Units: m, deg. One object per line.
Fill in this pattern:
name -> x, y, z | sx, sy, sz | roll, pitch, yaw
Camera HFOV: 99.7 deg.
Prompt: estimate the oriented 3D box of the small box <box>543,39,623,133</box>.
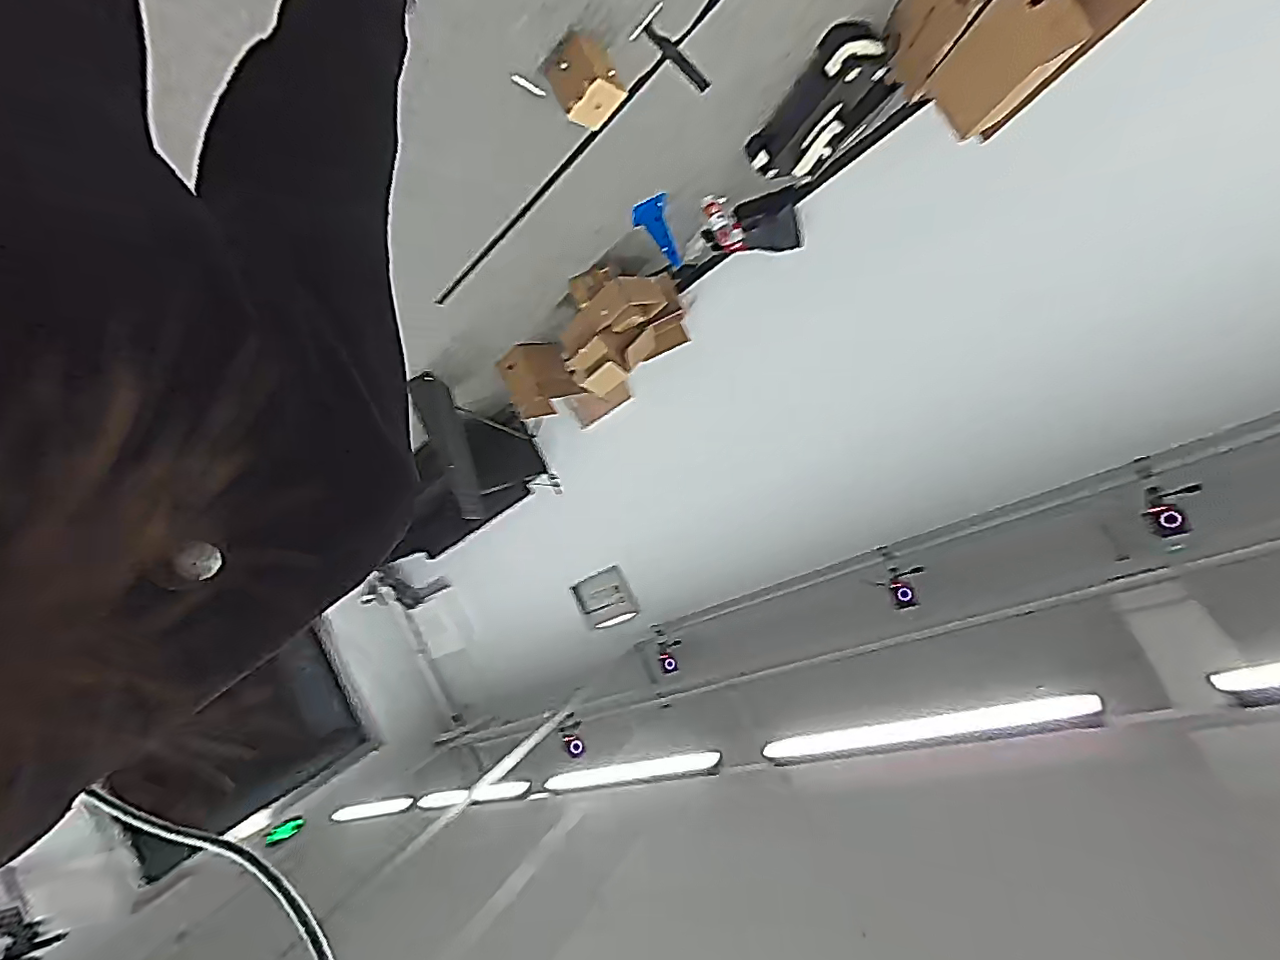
small box -> -0.194, -1.330, 1.828 | 0.168, 0.176, 0.179 | -29, 175, 36
